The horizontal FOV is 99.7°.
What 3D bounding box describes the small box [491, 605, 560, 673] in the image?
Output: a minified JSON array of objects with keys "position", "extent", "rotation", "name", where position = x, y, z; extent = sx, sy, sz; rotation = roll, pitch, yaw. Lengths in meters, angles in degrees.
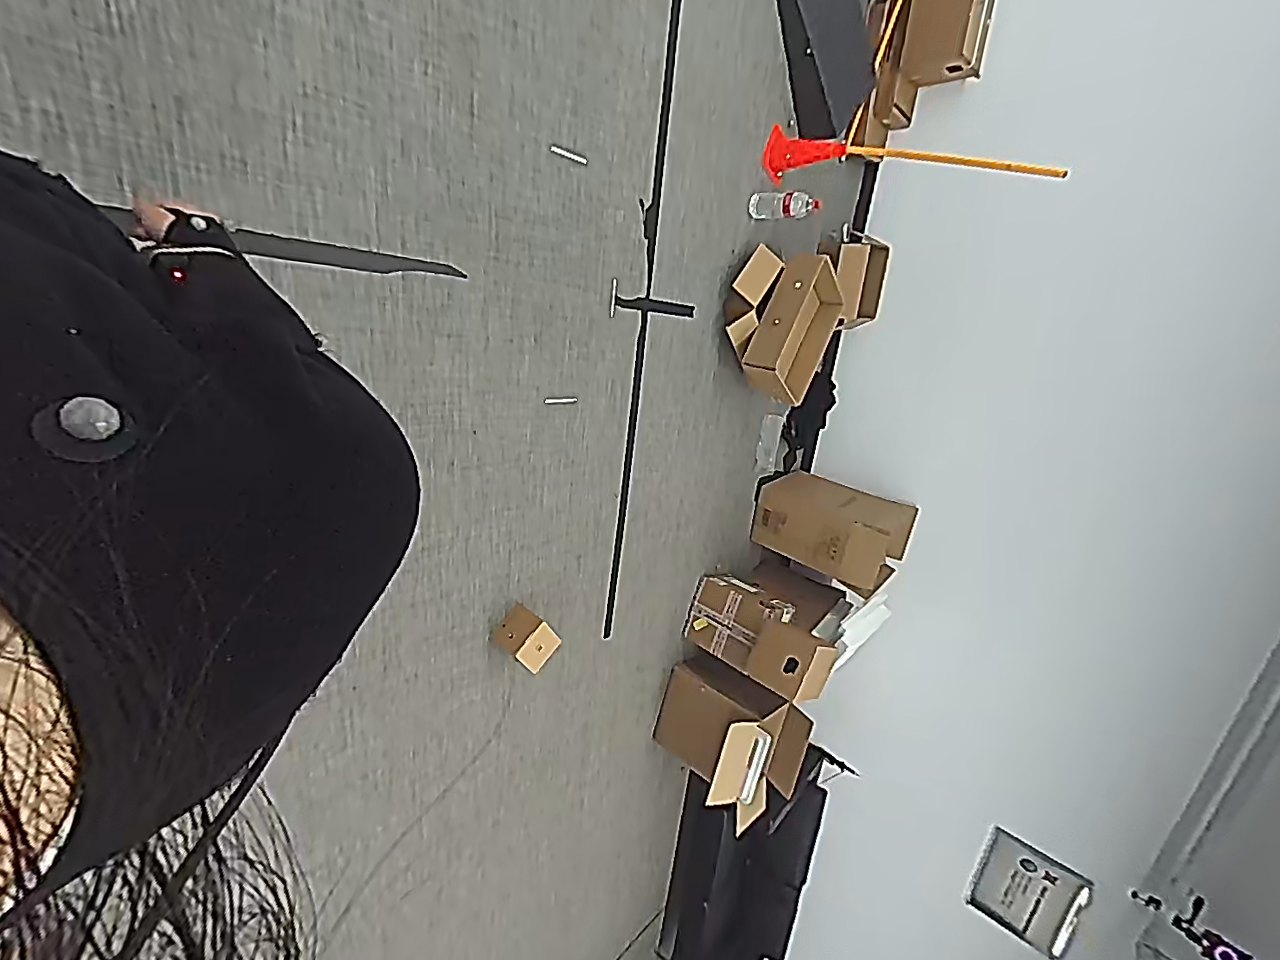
[{"position":[-0.454,0.620,2.133],"extent":[0.168,0.176,0.179],"rotation":[-49,140,-23],"name":"small box"}]
